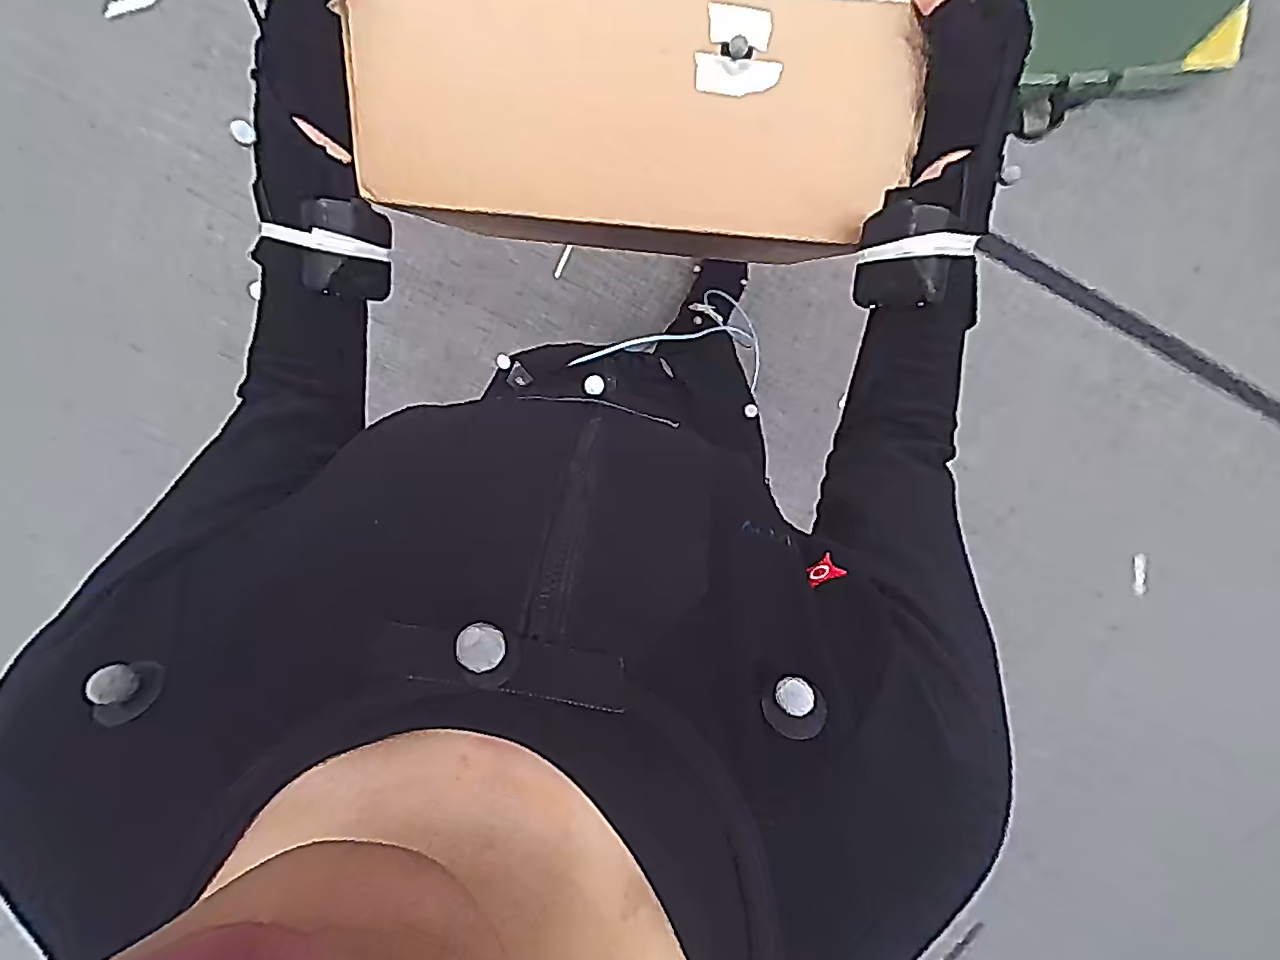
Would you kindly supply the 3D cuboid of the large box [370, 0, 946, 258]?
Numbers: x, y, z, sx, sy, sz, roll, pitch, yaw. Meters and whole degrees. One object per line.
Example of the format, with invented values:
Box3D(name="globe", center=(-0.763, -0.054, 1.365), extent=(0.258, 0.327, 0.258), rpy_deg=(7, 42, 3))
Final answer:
Box3D(name="large box", center=(0.012, -0.396, 0.507), extent=(0.408, 0.320, 0.320), rpy_deg=(5, 111, -2))
